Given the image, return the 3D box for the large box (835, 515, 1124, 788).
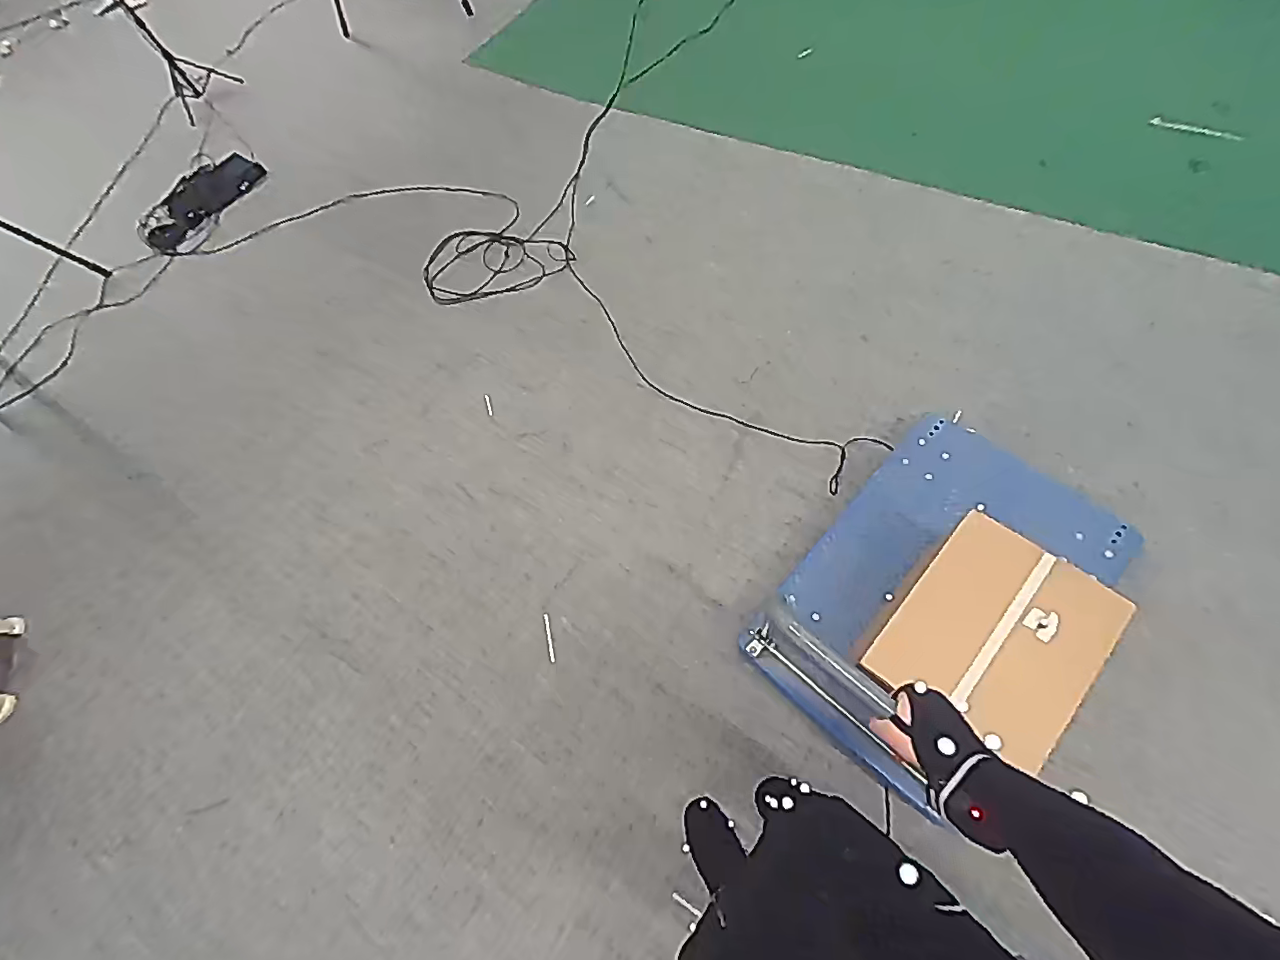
[{"bbox_3d":[0.674,0.359,1.135,0.320,0.320,0.408,37,74,22],"label":"large box"}]
